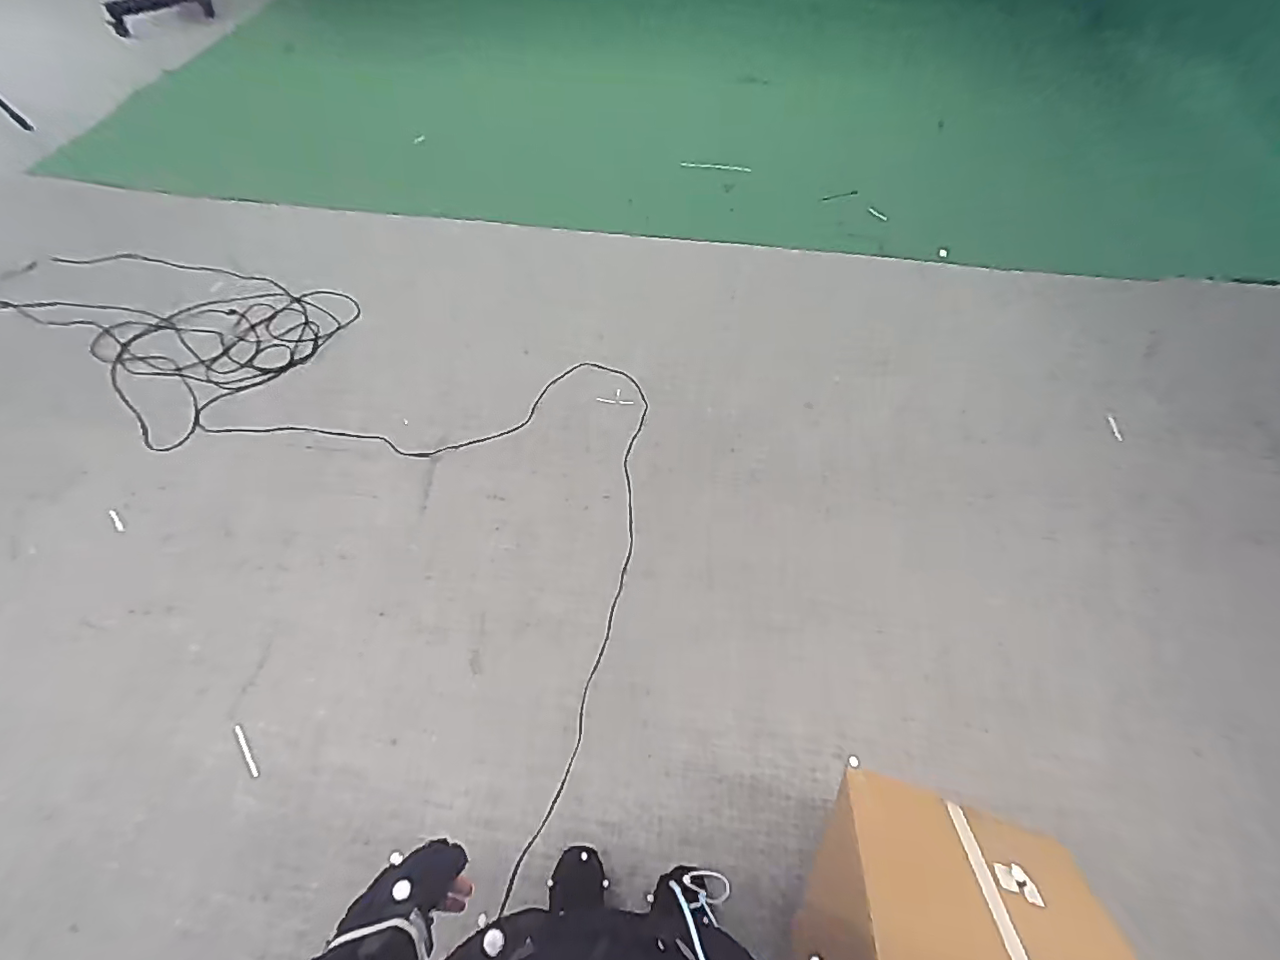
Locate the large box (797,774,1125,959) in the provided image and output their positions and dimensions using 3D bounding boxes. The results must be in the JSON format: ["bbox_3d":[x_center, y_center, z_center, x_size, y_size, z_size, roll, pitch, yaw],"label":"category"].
[{"bbox_3d":[0.389,0.672,0.668,0.320,0.408,0.320,17,98,14],"label":"large box"}]
